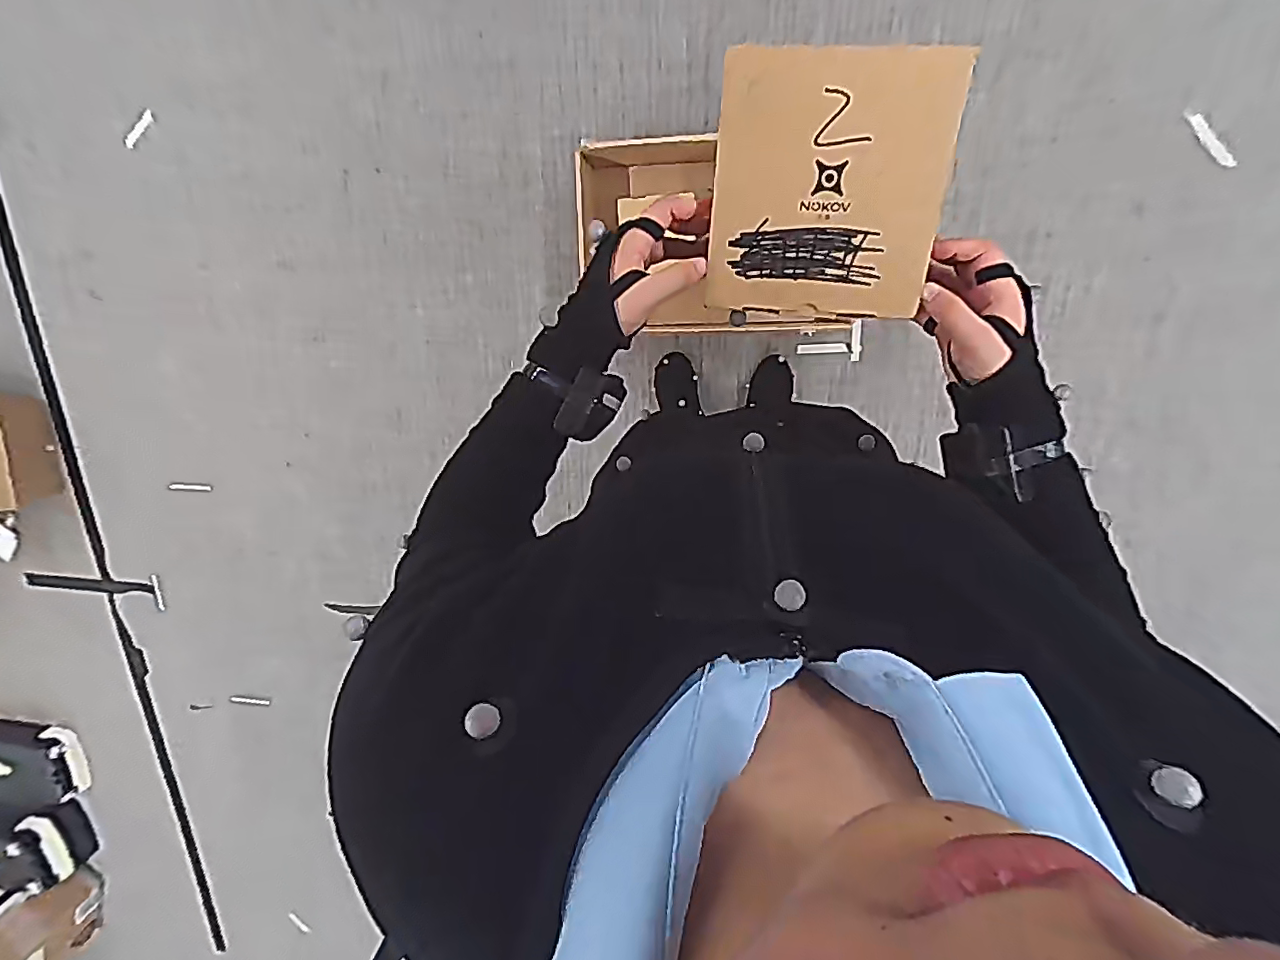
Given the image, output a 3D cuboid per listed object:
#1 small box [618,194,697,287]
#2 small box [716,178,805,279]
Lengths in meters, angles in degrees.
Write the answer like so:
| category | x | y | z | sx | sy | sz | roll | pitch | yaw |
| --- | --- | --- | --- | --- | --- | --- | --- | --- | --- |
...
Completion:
| category | x | y | z | sx | sy | sz | roll | pitch | yaw |
| --- | --- | --- | --- | --- | --- | --- | --- | --- | --- |
| small box | 0.046 | -0.539 | 1.242 | 0.168 | 0.176 | 0.179 | -1 | 106 | 6 |
| small box | 0.262 | -0.555 | 1.211 | 0.168 | 0.176 | 0.179 | 6 | 107 | 6 |
